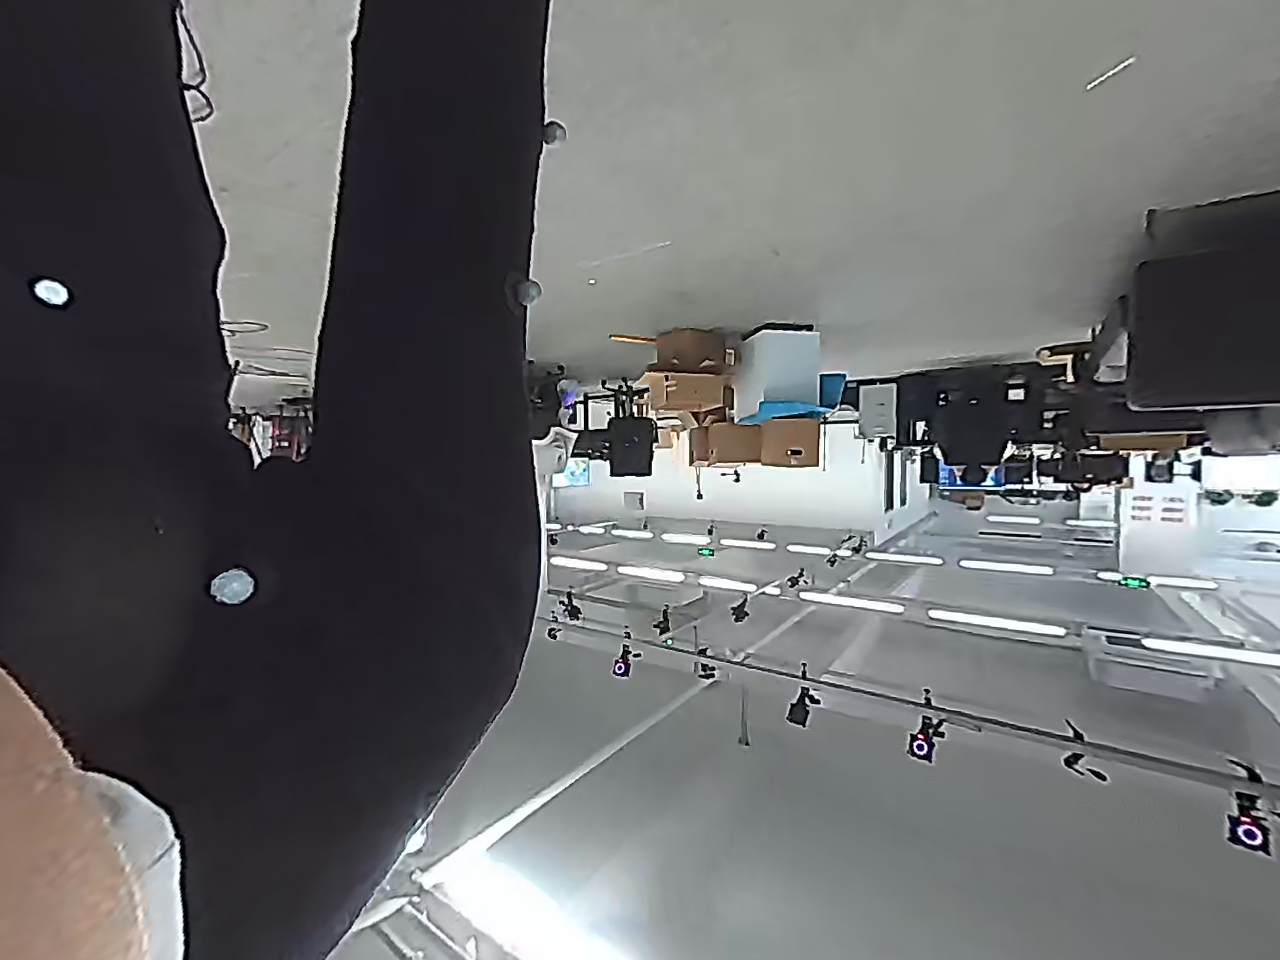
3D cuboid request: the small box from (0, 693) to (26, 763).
[{"bbox_3d":[-2.059,0.791,1.688,0.179,0.176,0.168,2,-177,35],"label":"small box"}]
